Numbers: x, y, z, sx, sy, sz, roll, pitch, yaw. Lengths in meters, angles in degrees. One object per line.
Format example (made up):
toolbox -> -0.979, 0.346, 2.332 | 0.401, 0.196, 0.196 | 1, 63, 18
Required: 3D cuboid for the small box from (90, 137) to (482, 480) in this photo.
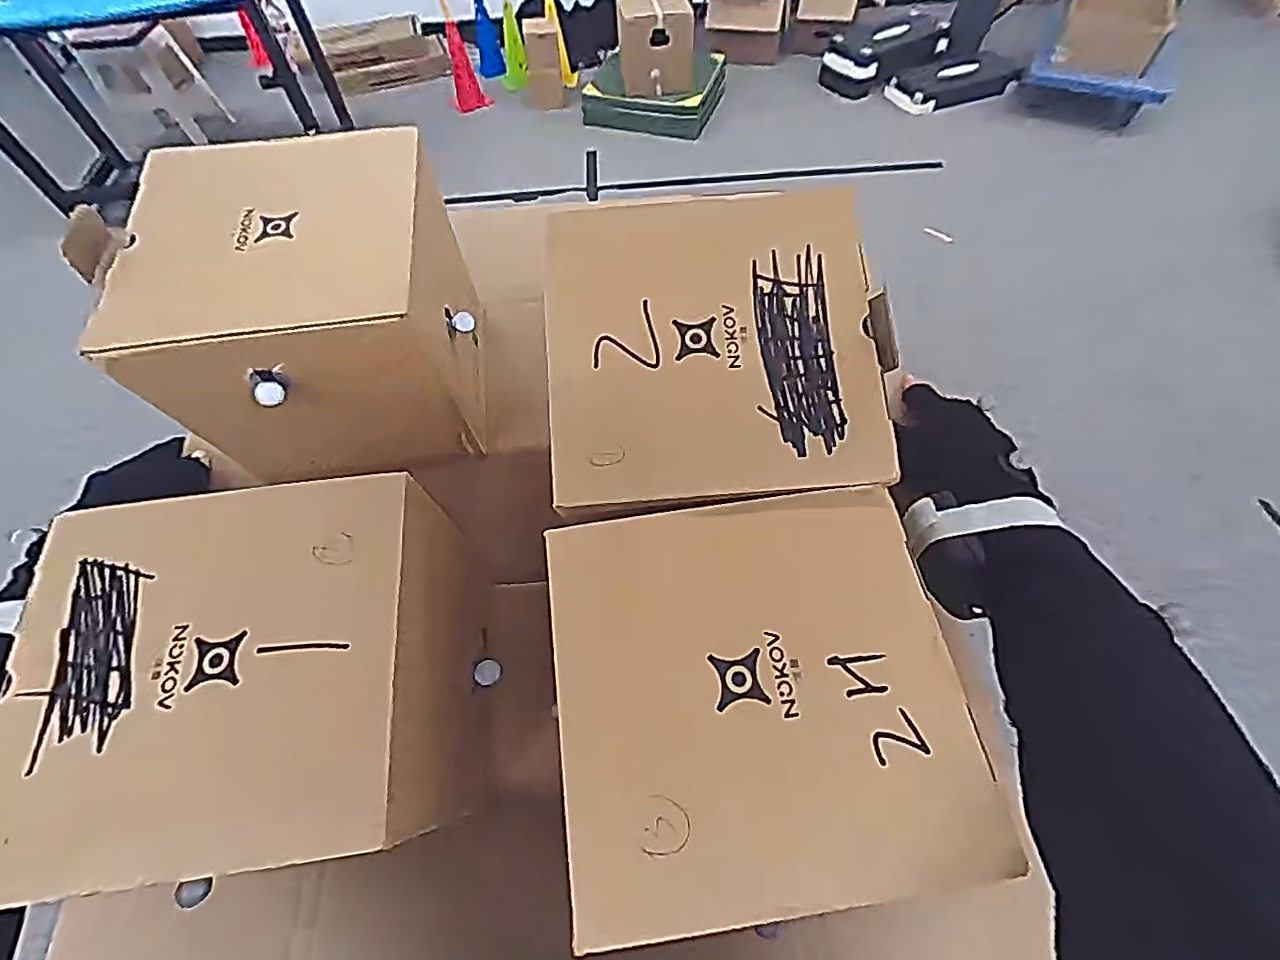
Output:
small box -> -0.223, -0.114, 0.403 | 0.179, 0.176, 0.168 | -8, 65, -2
